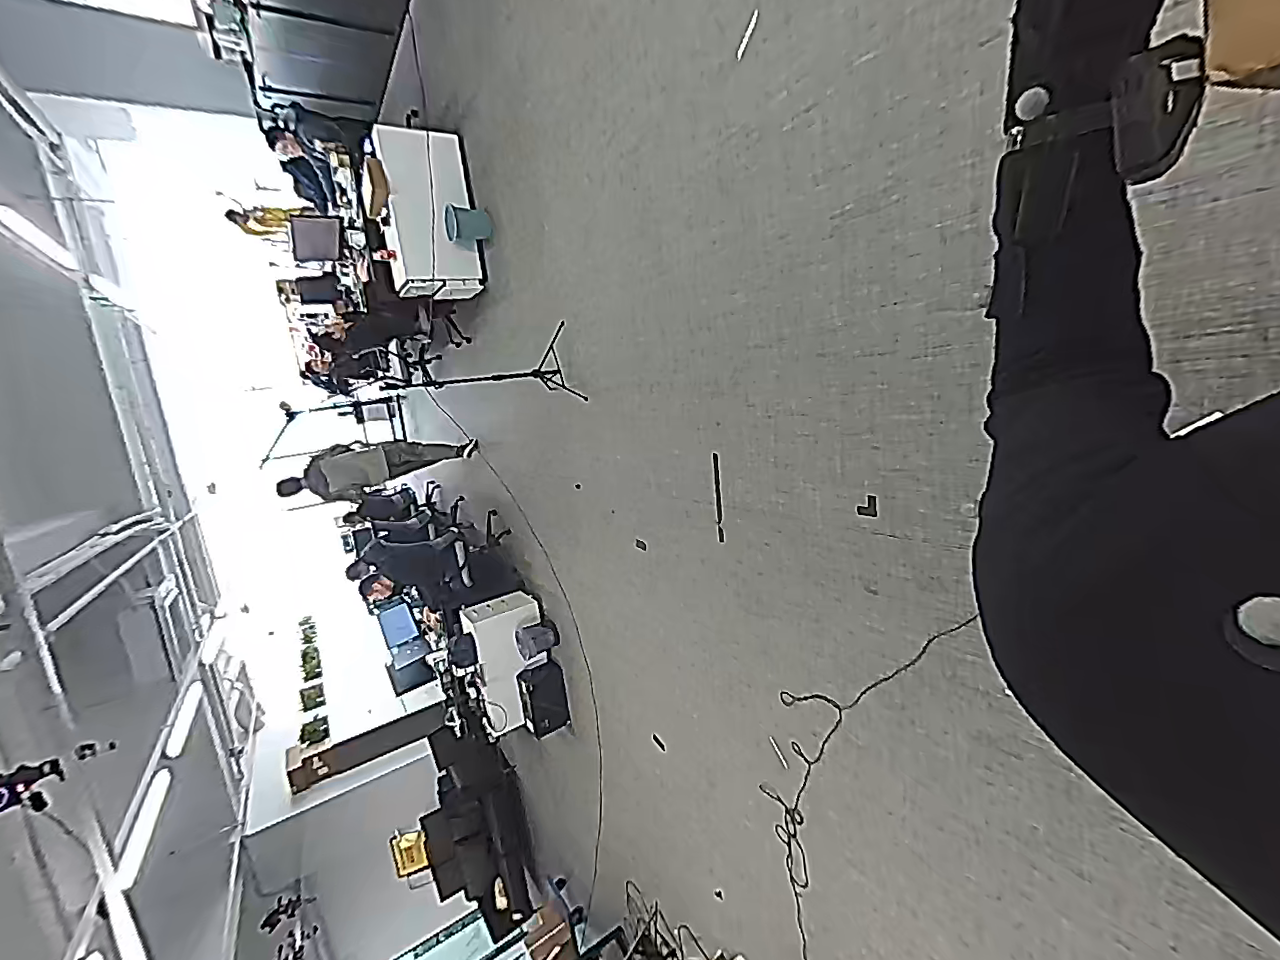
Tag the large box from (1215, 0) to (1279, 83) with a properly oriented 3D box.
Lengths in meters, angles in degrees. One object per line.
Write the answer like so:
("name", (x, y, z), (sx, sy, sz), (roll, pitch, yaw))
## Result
("large box", (0.488, -0.390, 0.158), (0.408, 0.320, 0.320), (7, 116, 56))
